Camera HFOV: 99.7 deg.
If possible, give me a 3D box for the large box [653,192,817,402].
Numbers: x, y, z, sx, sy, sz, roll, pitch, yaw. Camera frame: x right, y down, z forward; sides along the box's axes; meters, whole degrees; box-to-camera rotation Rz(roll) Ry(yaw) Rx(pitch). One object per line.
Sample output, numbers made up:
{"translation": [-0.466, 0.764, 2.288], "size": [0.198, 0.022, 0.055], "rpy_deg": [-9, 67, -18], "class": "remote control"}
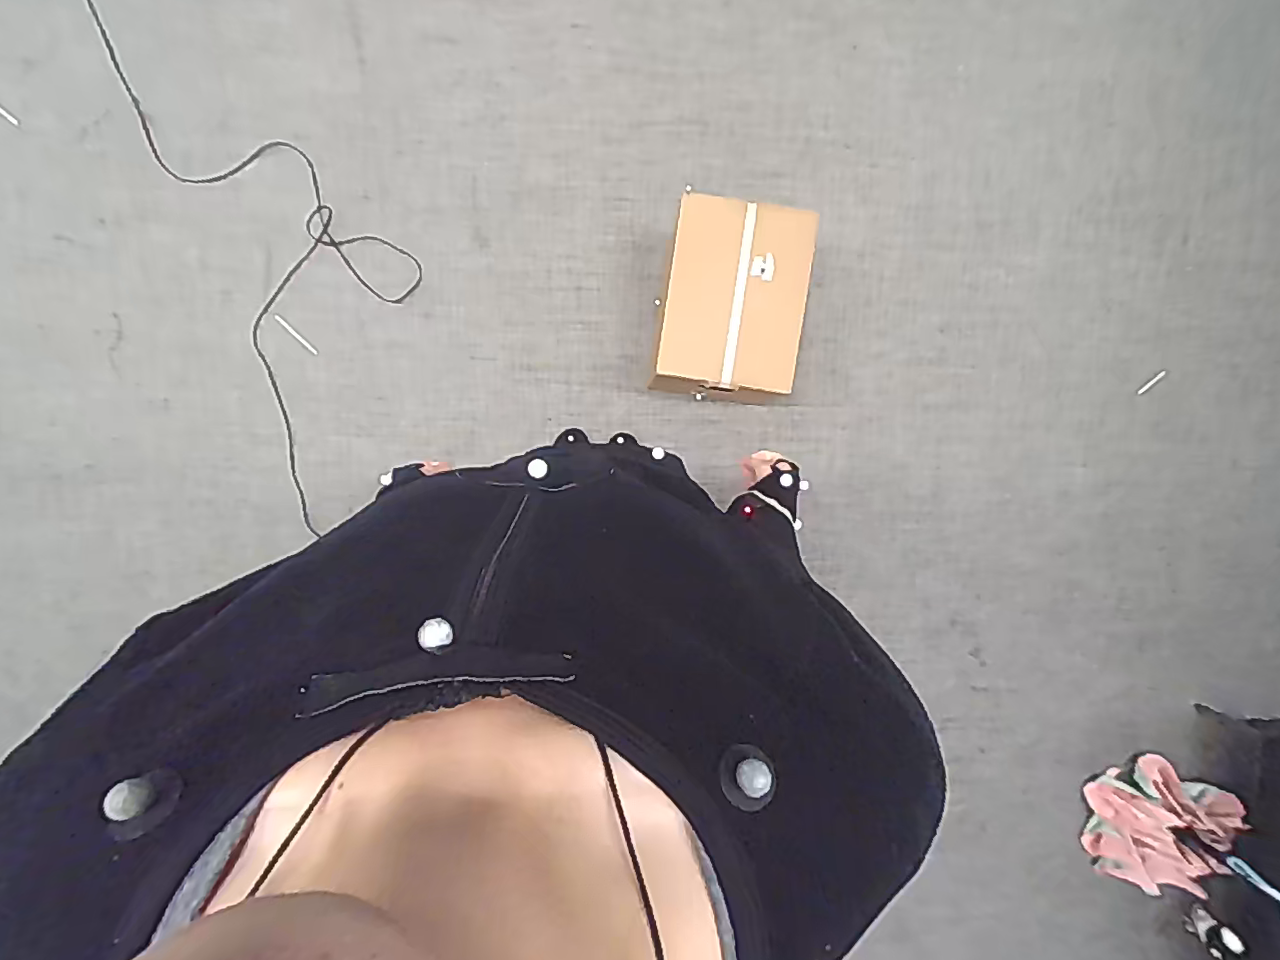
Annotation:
{"translation": [0.215, -0.425, 1.353], "size": [0.320, 0.320, 0.408], "rpy_deg": [8, 92, -4], "class": "large box"}
